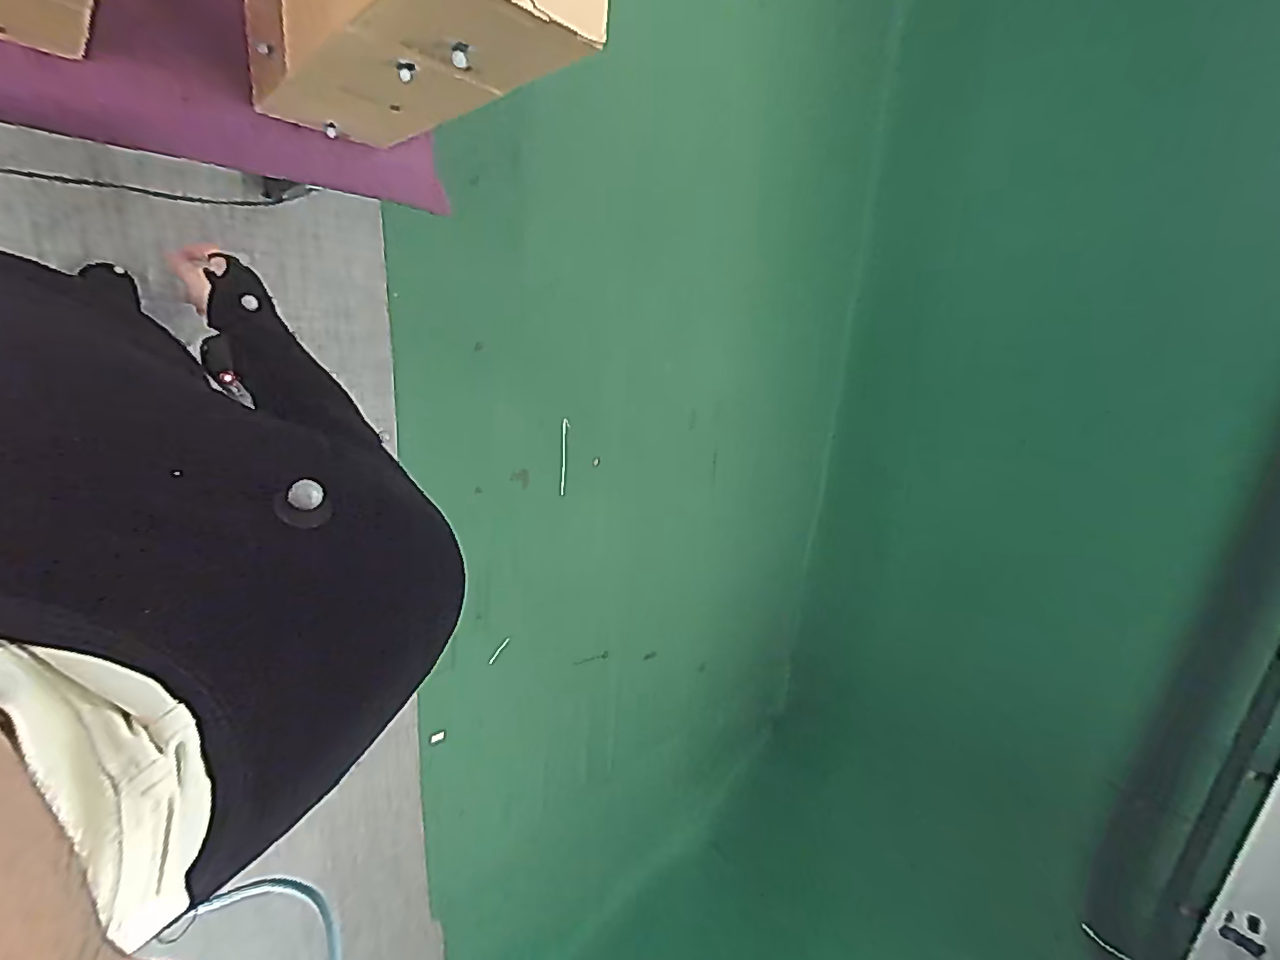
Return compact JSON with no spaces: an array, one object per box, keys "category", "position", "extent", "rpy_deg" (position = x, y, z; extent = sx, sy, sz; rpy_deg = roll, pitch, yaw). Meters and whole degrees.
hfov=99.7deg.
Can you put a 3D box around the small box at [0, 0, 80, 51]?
[{"category":"small box","position":[-0.601,-0.508,0.454],"extent":[0.168,0.176,0.179],"rpy_deg":[-12,111,-45]}]

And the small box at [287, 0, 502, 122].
[{"category":"small box","position":[-0.260,-0.516,0.570],"extent":[0.168,0.176,0.179],"rpy_deg":[-10,110,-45]}]

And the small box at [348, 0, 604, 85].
[{"category":"small box","position":[-0.143,-0.481,0.460],"extent":[0.168,0.176,0.179],"rpy_deg":[-10,112,-44]}]
